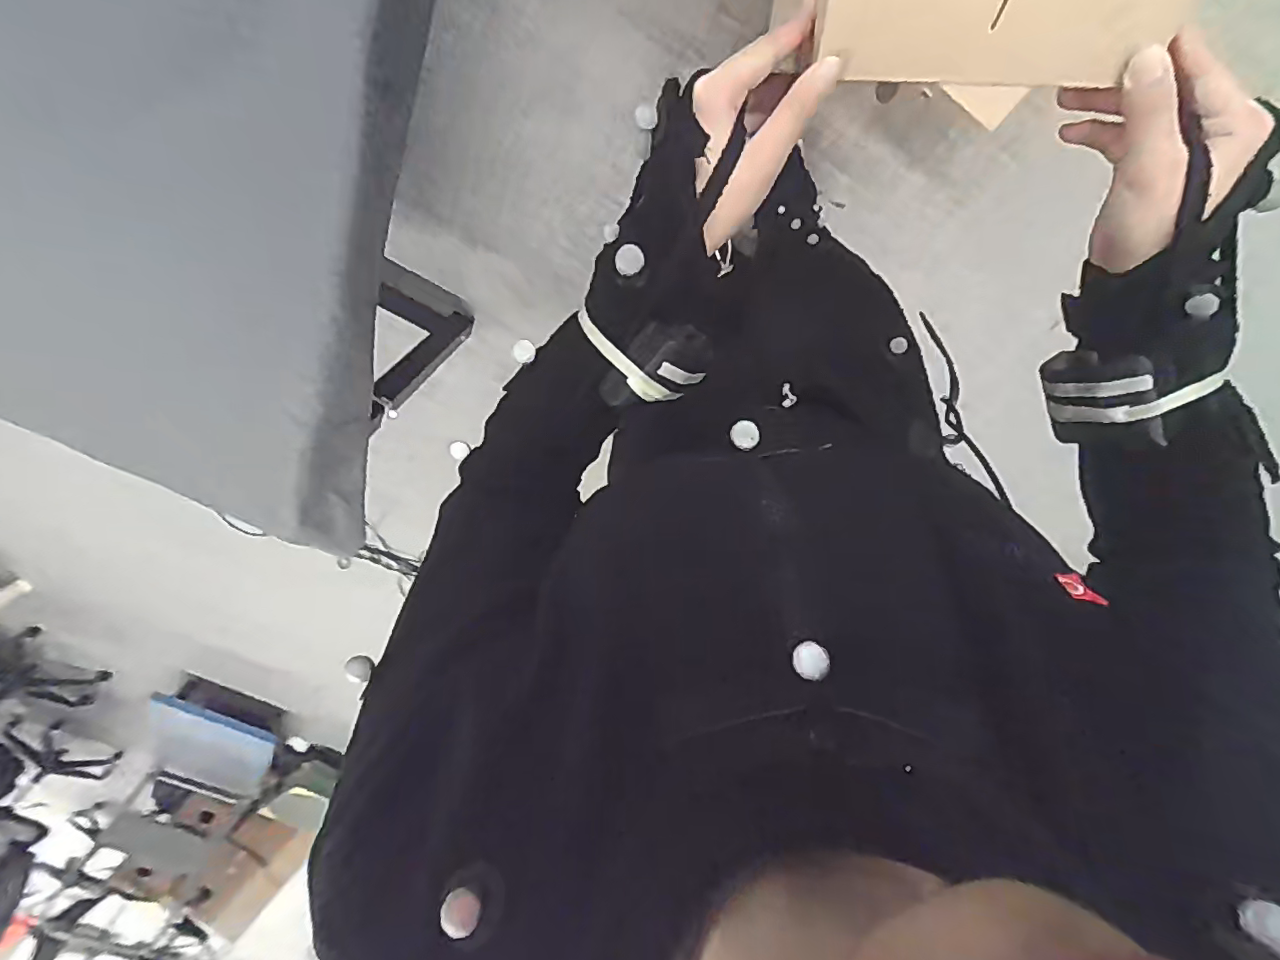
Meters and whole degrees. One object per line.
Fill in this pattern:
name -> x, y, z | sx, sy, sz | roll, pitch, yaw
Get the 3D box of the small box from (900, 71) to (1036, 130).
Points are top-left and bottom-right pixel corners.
small box -> 0.549, -0.700, 0.861 | 0.168, 0.176, 0.179 | 29, 127, -11

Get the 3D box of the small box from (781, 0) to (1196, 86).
small box -> 0.178, -0.318, 0.274 | 0.168, 0.176, 0.179 | 3, 131, 0
